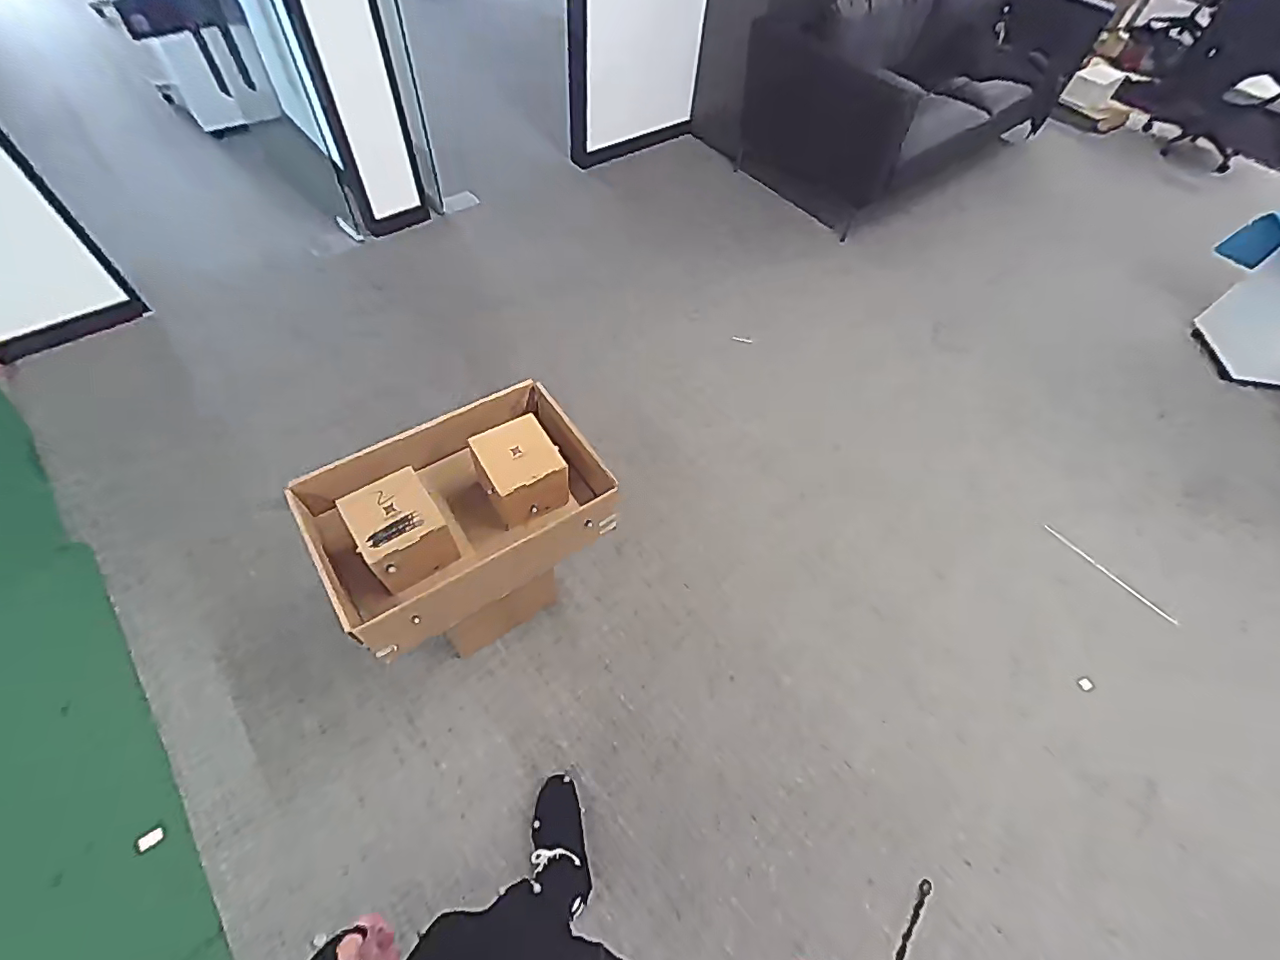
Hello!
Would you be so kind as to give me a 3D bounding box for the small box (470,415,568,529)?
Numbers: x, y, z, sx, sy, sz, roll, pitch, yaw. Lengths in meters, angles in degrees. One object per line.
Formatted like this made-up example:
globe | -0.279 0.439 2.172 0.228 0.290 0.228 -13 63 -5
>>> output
small box | -0.284 -0.016 1.281 0.168 0.176 0.179 -26 64 -22
